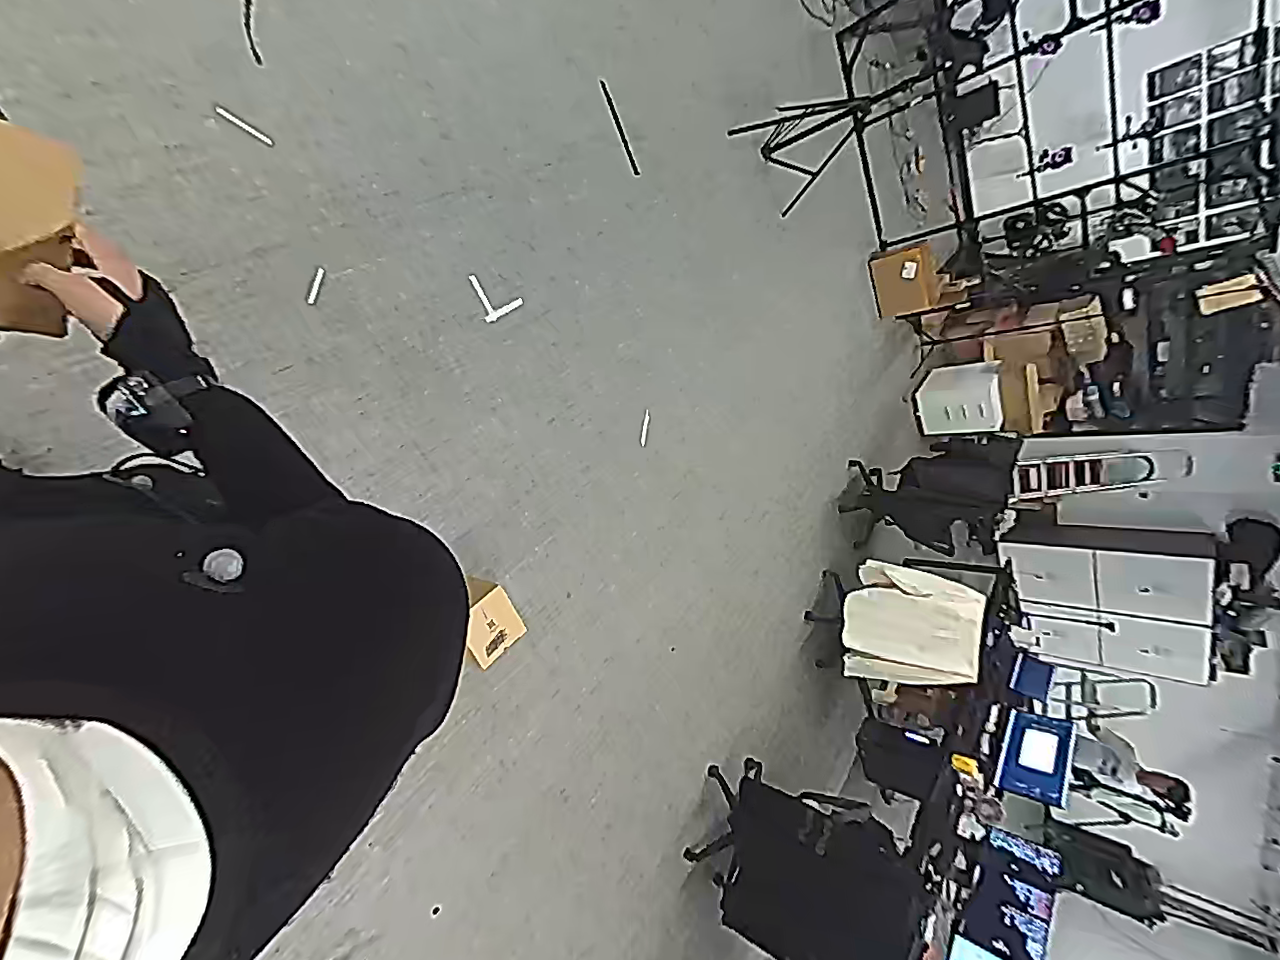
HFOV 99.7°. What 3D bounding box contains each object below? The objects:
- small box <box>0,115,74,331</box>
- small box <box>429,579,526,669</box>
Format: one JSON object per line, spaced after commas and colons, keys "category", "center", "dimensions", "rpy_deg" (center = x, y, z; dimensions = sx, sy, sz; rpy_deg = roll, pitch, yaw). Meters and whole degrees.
{"category": "small box", "center": [-0.612, -0.224, 0.431], "dimensions": [0.179, 0.176, 0.168], "rpy_deg": [-2, 102, -66]}
{"category": "small box", "center": [-0.466, 0.405, 1.551], "dimensions": [0.168, 0.176, 0.179], "rpy_deg": [-41, 117, -37]}
